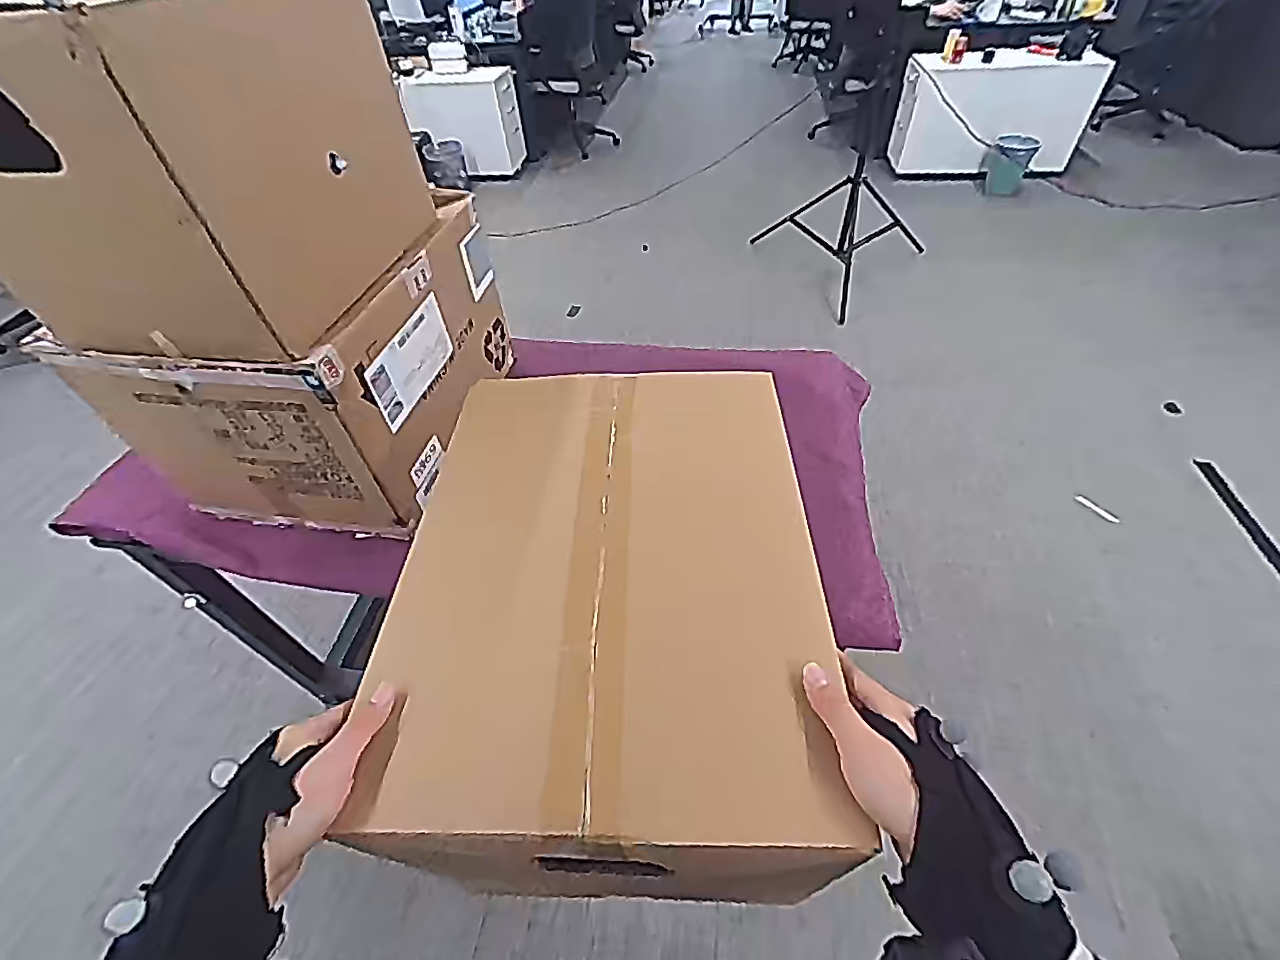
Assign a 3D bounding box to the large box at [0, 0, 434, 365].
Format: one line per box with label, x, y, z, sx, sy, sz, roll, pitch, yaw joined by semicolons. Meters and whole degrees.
large box;-0.510;-0.387;0.662;0.320;0.320;0.408;3;48;9
